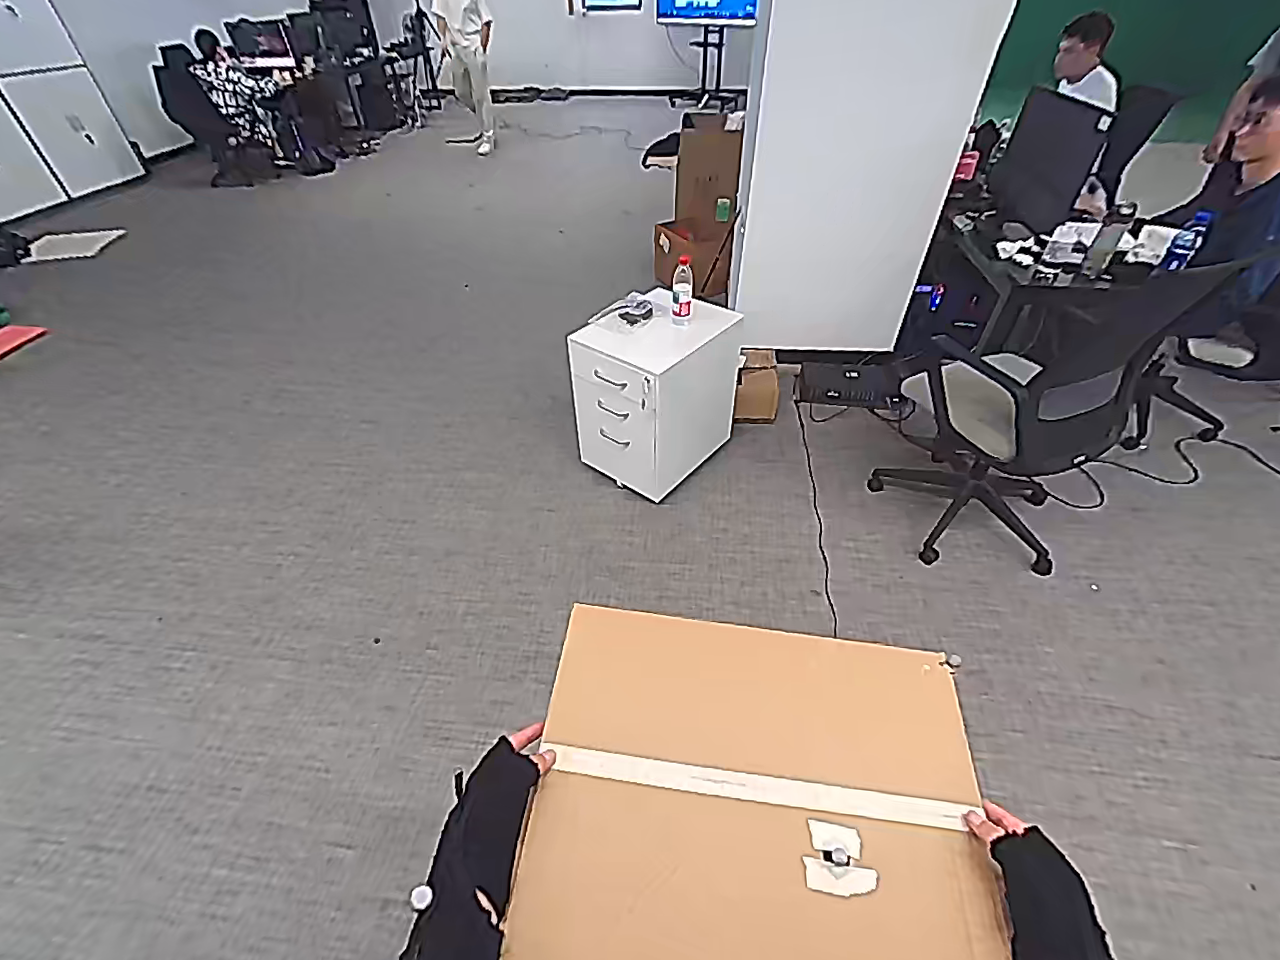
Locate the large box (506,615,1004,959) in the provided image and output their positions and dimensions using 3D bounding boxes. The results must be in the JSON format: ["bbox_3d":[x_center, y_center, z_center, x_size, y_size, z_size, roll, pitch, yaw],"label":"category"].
[{"bbox_3d":[0.103,0.385,0.618,0.408,0.320,0.320,7,51,4],"label":"large box"}]
